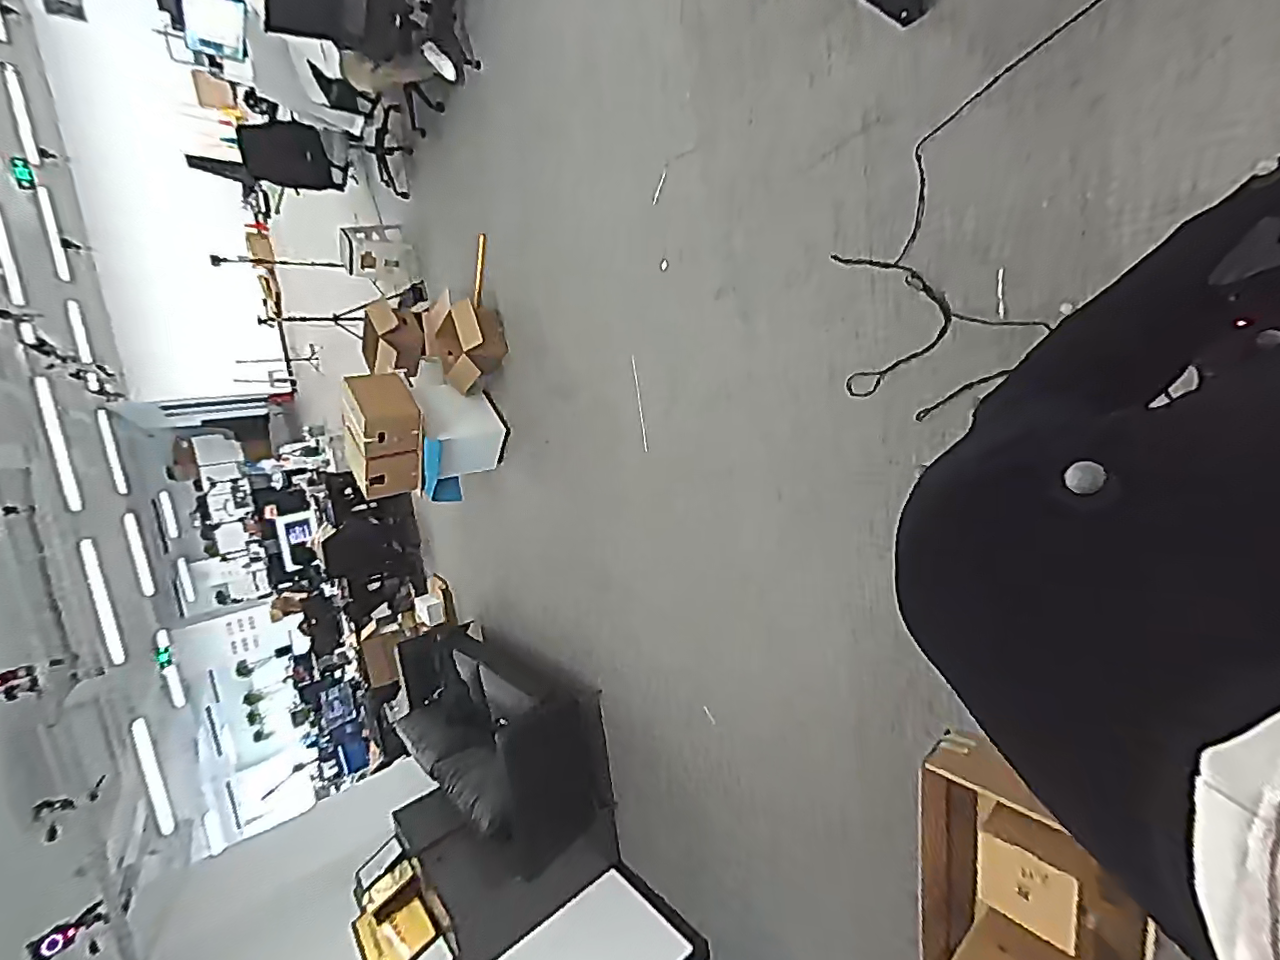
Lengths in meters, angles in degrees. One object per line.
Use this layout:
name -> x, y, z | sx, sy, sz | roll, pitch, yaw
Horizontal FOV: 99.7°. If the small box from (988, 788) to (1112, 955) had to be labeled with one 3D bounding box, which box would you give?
small box -> 0.832, 0.779, 1.098 | 0.168, 0.176, 0.179 | 8, 108, 51
